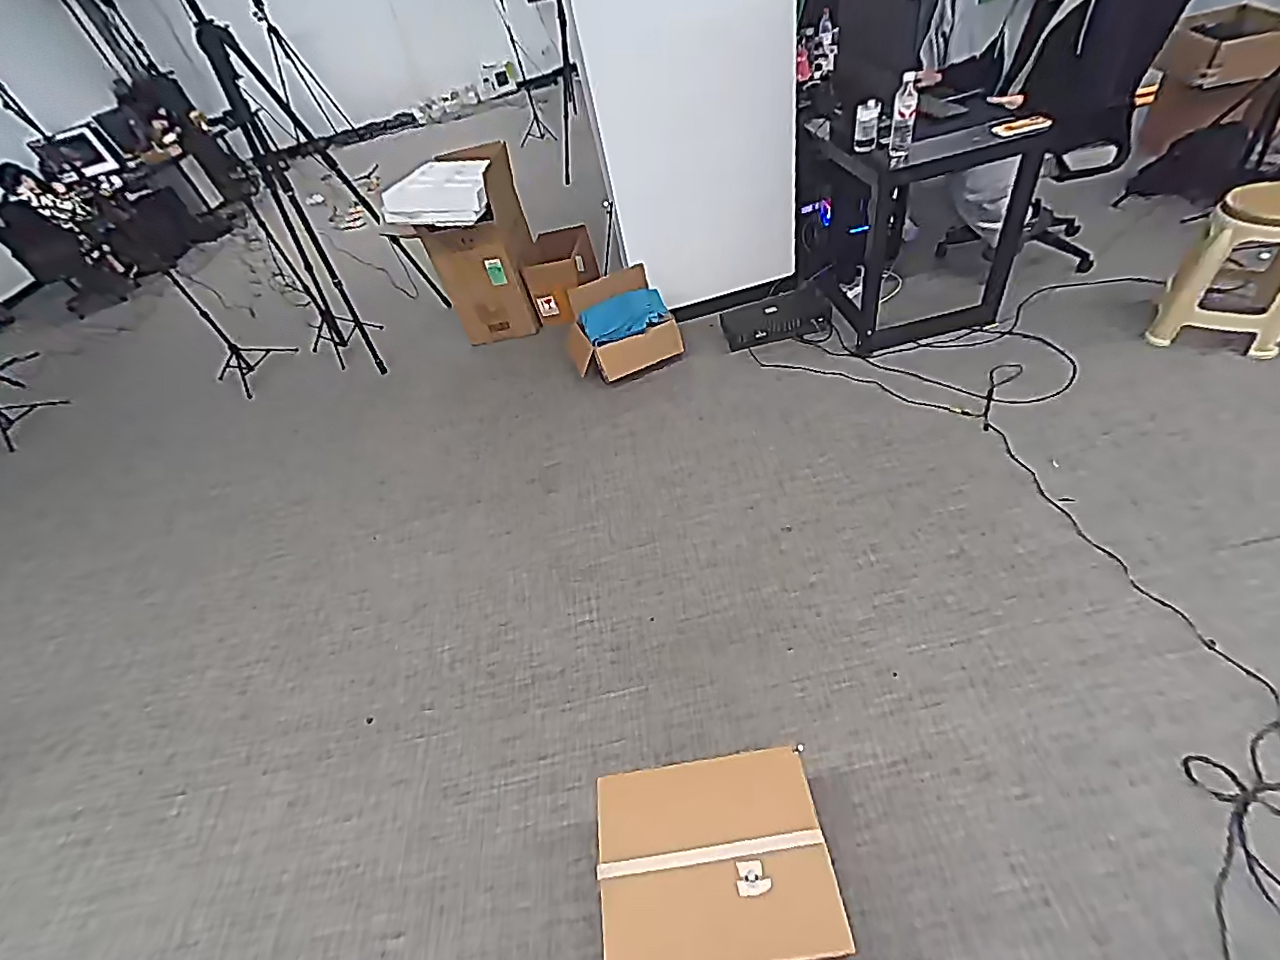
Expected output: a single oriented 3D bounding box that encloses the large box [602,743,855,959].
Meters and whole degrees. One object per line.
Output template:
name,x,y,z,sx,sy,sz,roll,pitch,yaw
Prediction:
large box,0.158,0.767,1.070,0.408,0.320,0.320,-11,45,4
